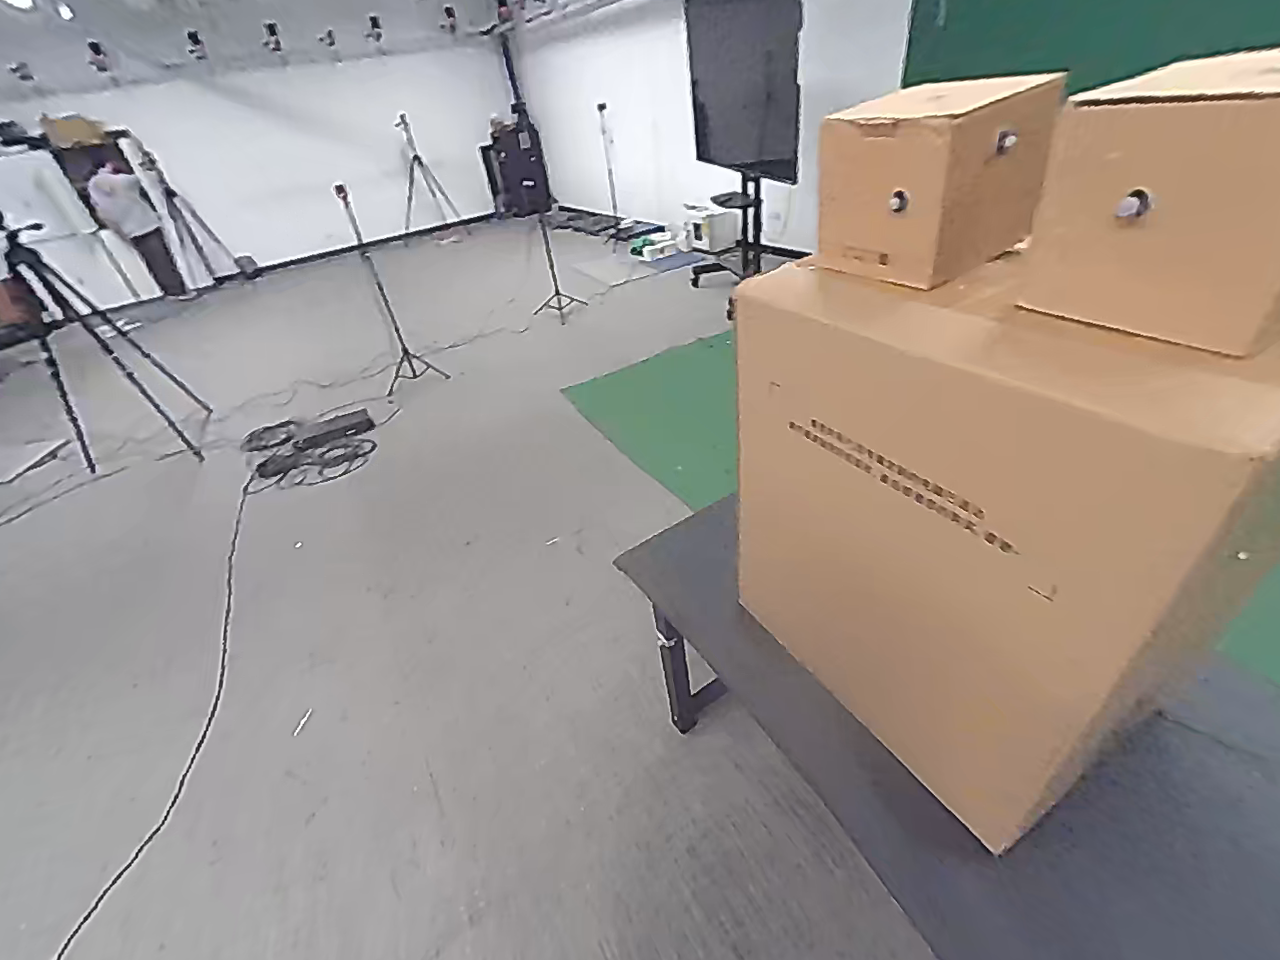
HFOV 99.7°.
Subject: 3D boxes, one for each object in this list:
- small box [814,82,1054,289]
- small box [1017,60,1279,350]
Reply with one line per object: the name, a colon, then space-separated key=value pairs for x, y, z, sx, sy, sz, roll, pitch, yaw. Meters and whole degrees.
small box: x=0.326 y=-0.340 z=0.631 sx=0.179 sy=0.176 sz=0.168 roll=-27 pitch=41 yaw=-19
small box: x=0.454 y=-0.224 z=0.441 sx=0.168 sy=0.176 sz=0.179 roll=-27 pitch=39 yaw=-17
